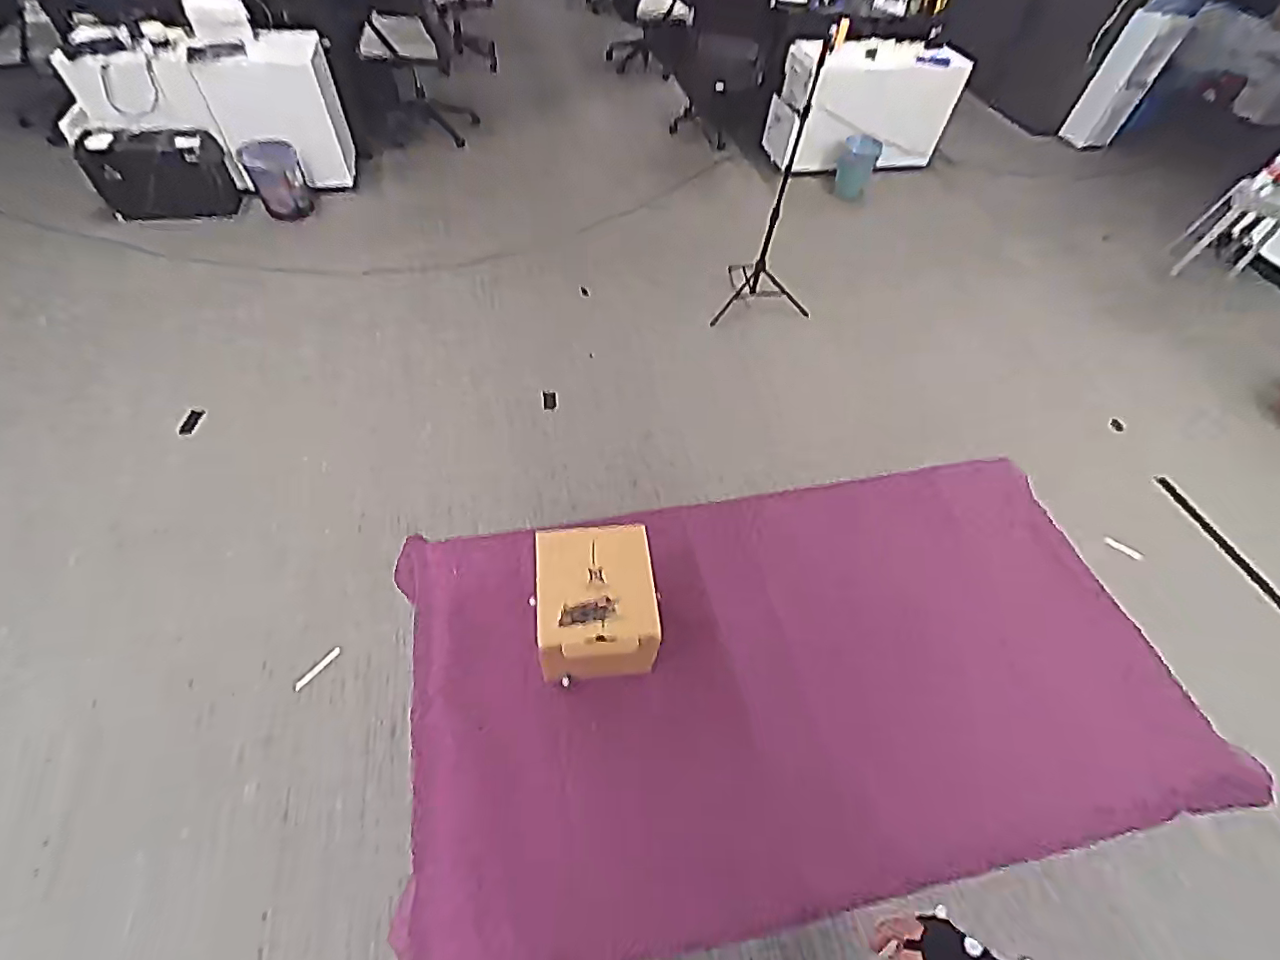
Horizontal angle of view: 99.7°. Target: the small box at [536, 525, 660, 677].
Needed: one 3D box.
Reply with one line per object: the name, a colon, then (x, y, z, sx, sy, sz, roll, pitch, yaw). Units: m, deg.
small box: (-0.067, 0.188, 0.819, 0.168, 0.176, 0.179, -3, 54, -8)
